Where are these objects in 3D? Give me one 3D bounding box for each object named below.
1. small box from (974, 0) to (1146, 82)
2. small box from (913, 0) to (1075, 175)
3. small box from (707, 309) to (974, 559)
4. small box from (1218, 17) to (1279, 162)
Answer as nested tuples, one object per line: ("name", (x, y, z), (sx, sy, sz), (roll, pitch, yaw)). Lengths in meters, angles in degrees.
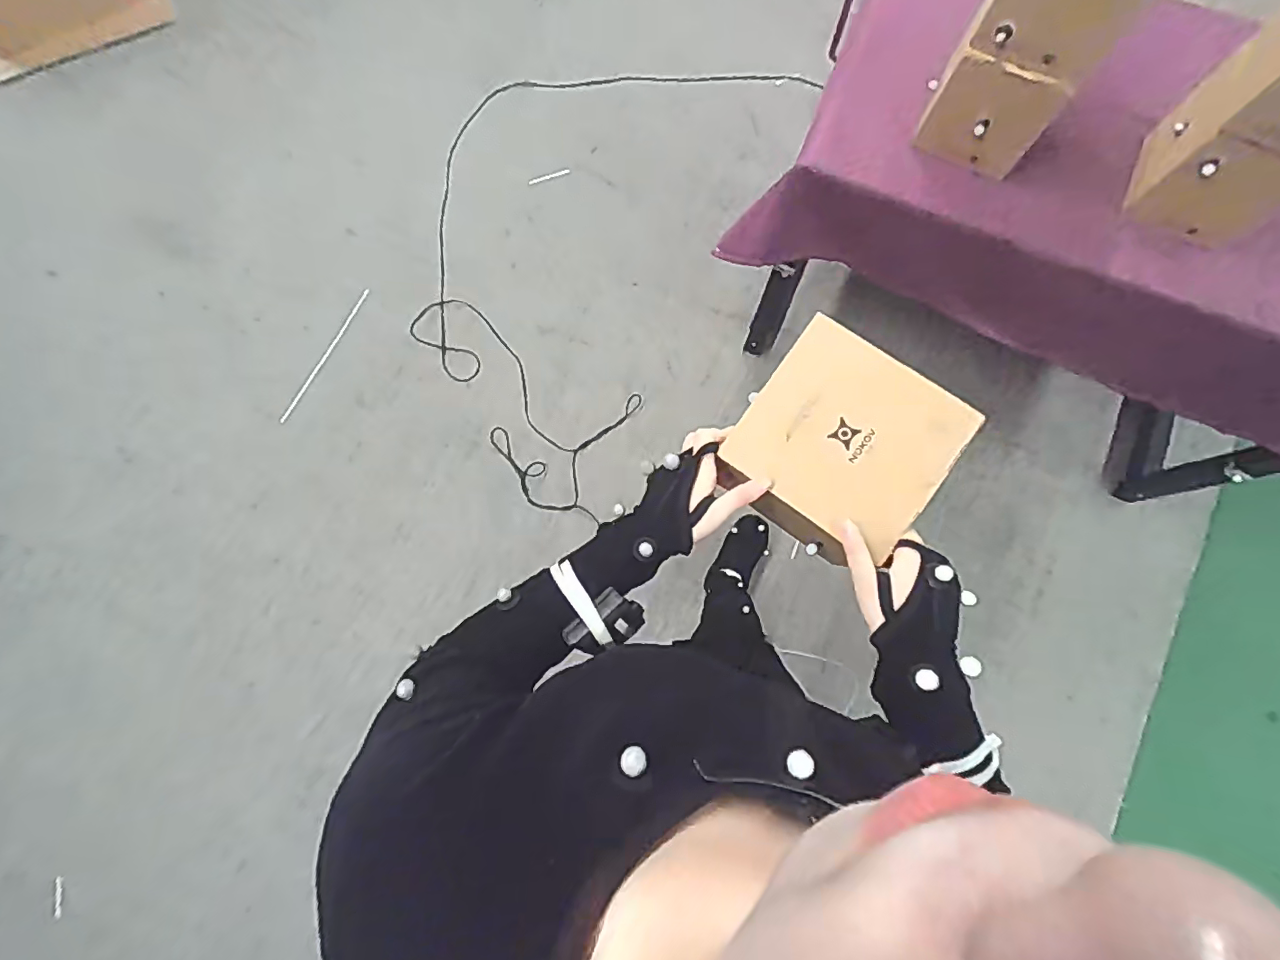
("small box", (0.574, -0.671, 0.698), (0.168, 0.176, 0.179), (27, 79, 5))
("small box", (0.568, -0.632, 0.859), (0.168, 0.176, 0.179), (26, 80, 4))
("small box", (0.187, -0.037, 0.564), (0.179, 0.176, 0.168), (37, 87, 8))
("small box", (0.891, -0.526, 0.668), (0.168, 0.176, 0.179), (28, 80, 6))
